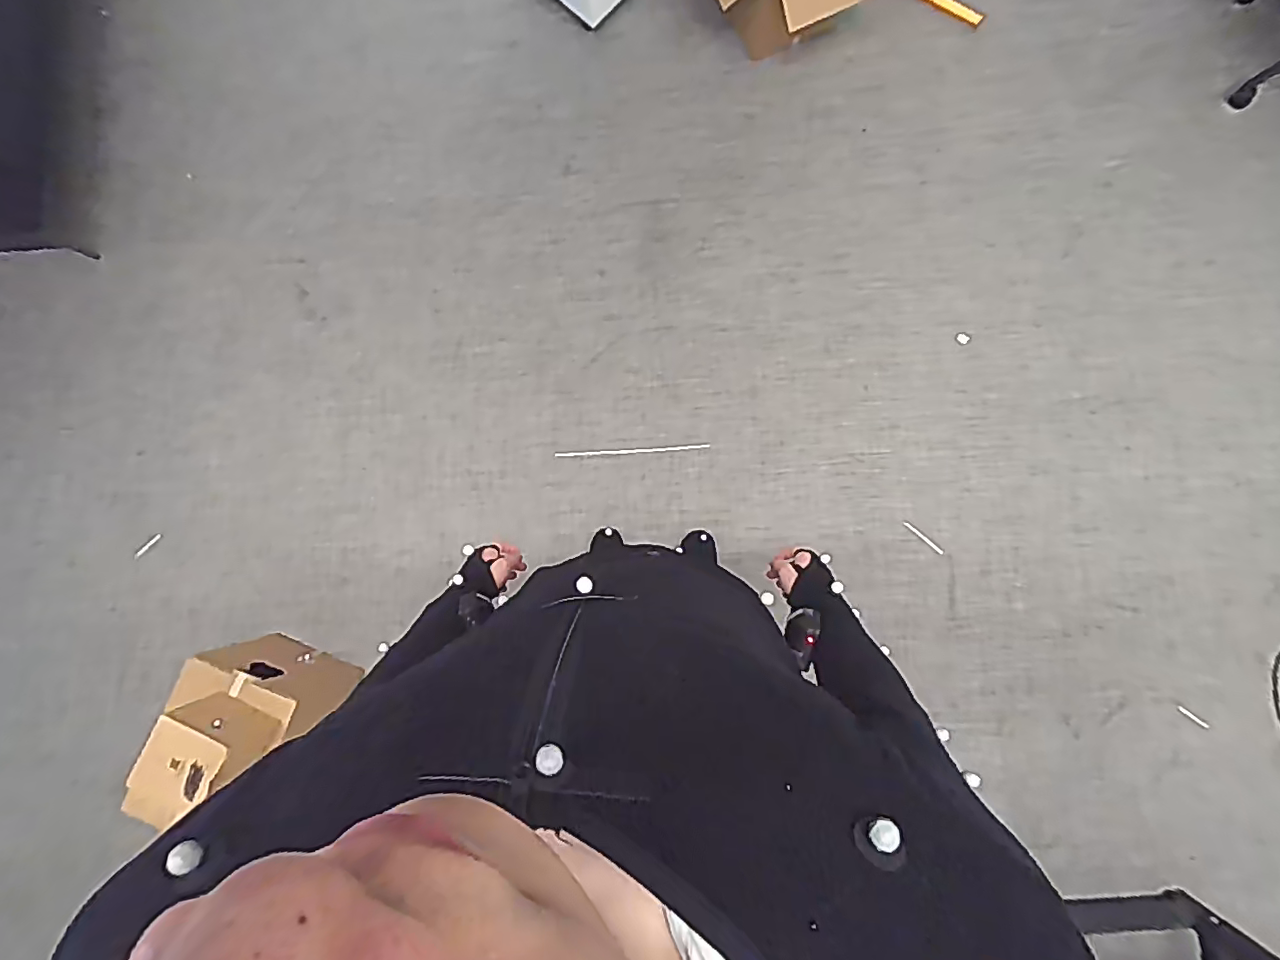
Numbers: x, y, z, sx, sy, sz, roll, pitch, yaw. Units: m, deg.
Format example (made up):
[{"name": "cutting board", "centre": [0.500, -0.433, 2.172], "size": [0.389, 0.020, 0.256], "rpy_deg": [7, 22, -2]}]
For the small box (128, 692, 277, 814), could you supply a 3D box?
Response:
[{"name": "small box", "centre": [-0.996, 0.618, 1.249], "size": [0.179, 0.176, 0.168], "rpy_deg": [24, 86, 3]}]

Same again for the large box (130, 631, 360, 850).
[{"name": "large box", "centre": [-1.055, 0.683, 1.493], "size": [0.320, 0.320, 0.408], "rpy_deg": [20, 87, 4]}]
